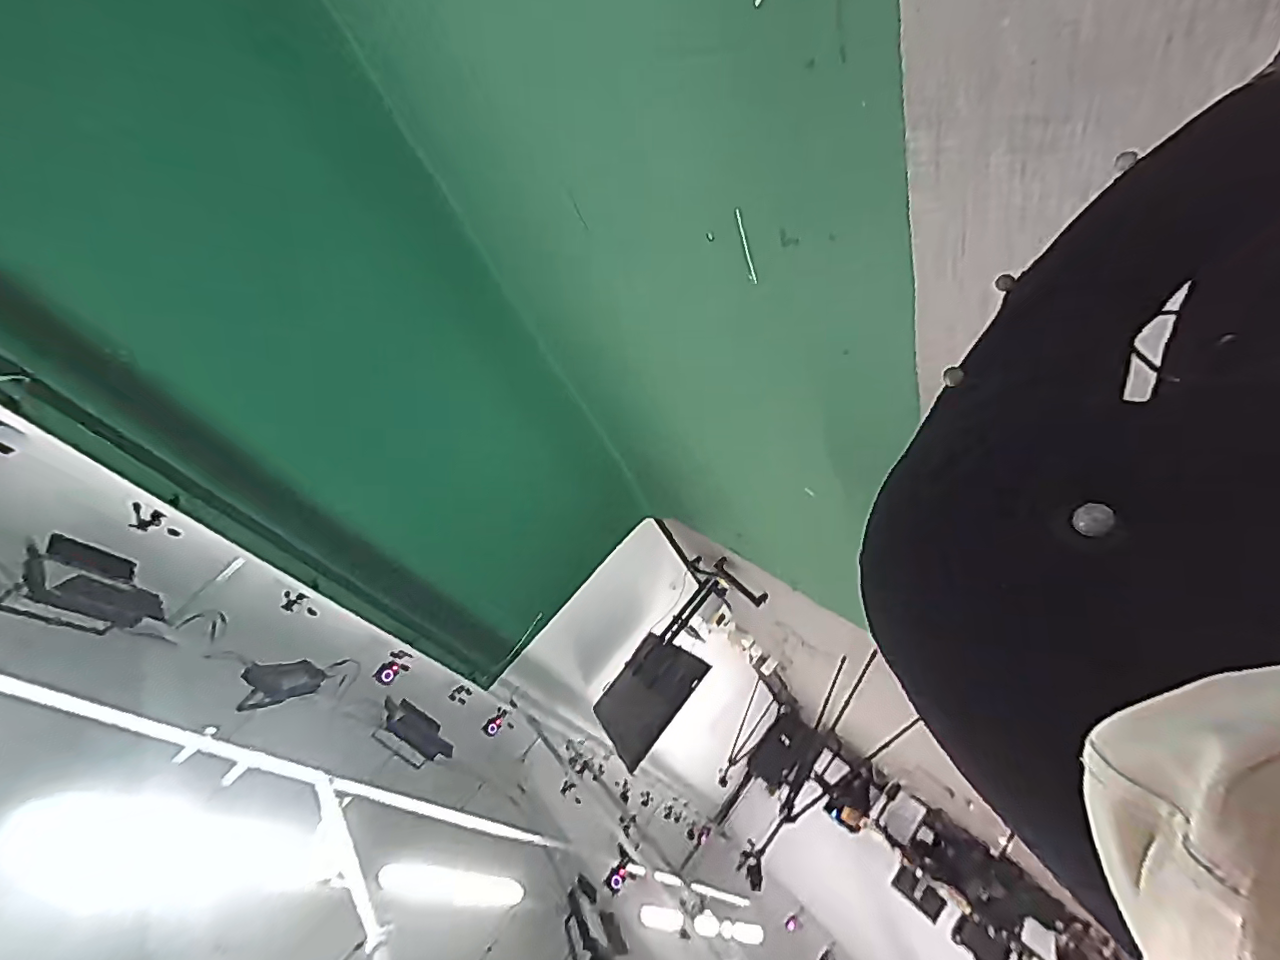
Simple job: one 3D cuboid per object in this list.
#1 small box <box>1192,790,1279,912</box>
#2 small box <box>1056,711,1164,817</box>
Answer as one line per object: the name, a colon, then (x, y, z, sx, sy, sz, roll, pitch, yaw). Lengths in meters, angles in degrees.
small box: (1.442, 0.861, 1.257, 0.168, 0.176, 0.179, 28, 161, 47)
small box: (1.268, 0.765, 1.464, 0.168, 0.176, 0.179, 28, 159, 44)
